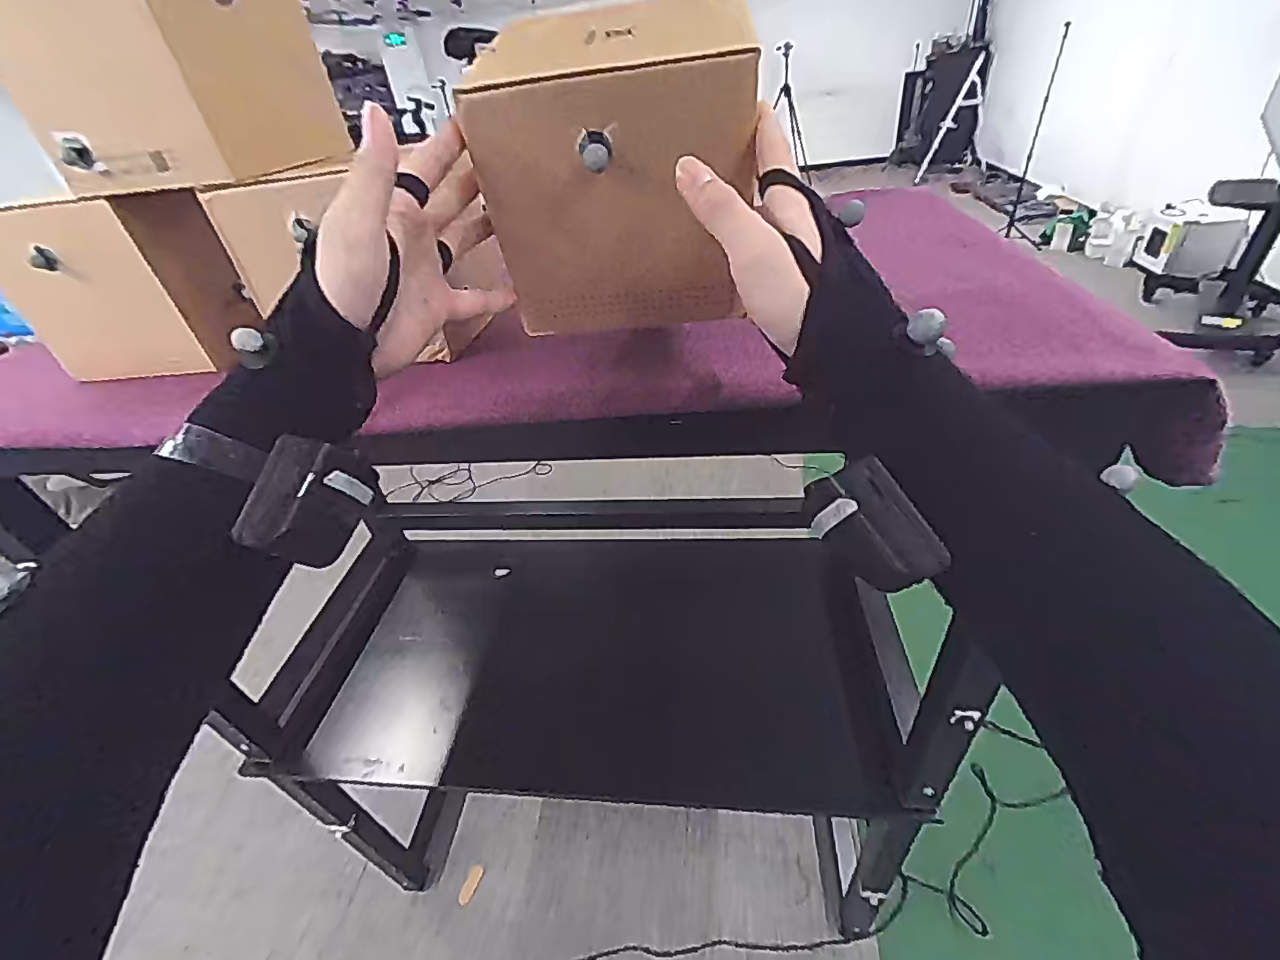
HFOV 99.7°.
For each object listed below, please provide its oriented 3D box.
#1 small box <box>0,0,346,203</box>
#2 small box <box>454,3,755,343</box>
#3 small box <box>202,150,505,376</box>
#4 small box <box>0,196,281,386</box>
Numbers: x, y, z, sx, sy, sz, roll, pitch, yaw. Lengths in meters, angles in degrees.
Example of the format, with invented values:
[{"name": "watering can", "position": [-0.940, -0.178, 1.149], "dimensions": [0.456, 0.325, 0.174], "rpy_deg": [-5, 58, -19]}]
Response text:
[{"name": "small box", "position": [-0.400, -0.348, 0.472], "dimensions": [0.168, 0.176, 0.179], "rpy_deg": [0, 37, 10]}, {"name": "small box", "position": [-0.009, -0.225, 0.415], "dimensions": [0.179, 0.176, 0.168], "rpy_deg": [-4, 50, 8]}, {"name": "small box", "position": [-0.259, -0.213, 0.540], "dimensions": [0.179, 0.176, 0.168], "rpy_deg": [-1, 38, 10]}, {"name": "small box", "position": [-0.522, -0.213, 0.590], "dimensions": [0.179, 0.176, 0.168], "rpy_deg": [-3, 38, 8]}]
